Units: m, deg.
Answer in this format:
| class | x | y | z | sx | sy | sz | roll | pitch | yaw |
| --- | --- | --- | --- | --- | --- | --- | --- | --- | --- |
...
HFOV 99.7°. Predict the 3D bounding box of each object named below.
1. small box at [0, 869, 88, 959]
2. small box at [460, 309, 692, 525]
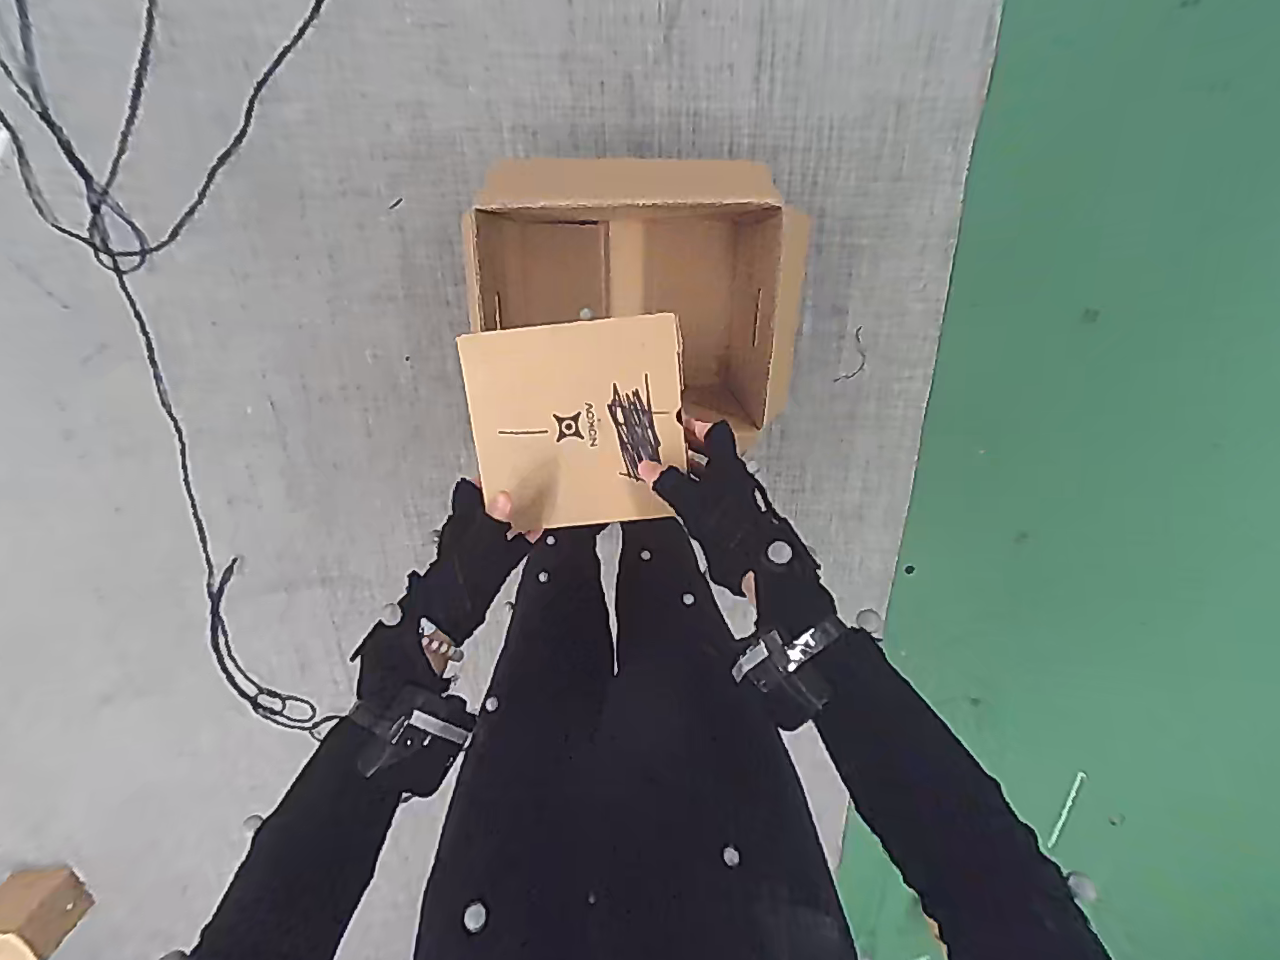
| class | x | y | z | sx | sy | sz | roll | pitch | yaw |
| --- | --- | --- | --- | --- | --- | --- | --- | --- | --- |
| small box | -1.768 | 1.250 | 1.546 | 0.179 | 0.176 | 0.168 | -3 | 113 | 0 |
| small box | -0.049 | -0.063 | 0.517 | 0.179 | 0.176 | 0.168 | -5 | 99 | 2 |
